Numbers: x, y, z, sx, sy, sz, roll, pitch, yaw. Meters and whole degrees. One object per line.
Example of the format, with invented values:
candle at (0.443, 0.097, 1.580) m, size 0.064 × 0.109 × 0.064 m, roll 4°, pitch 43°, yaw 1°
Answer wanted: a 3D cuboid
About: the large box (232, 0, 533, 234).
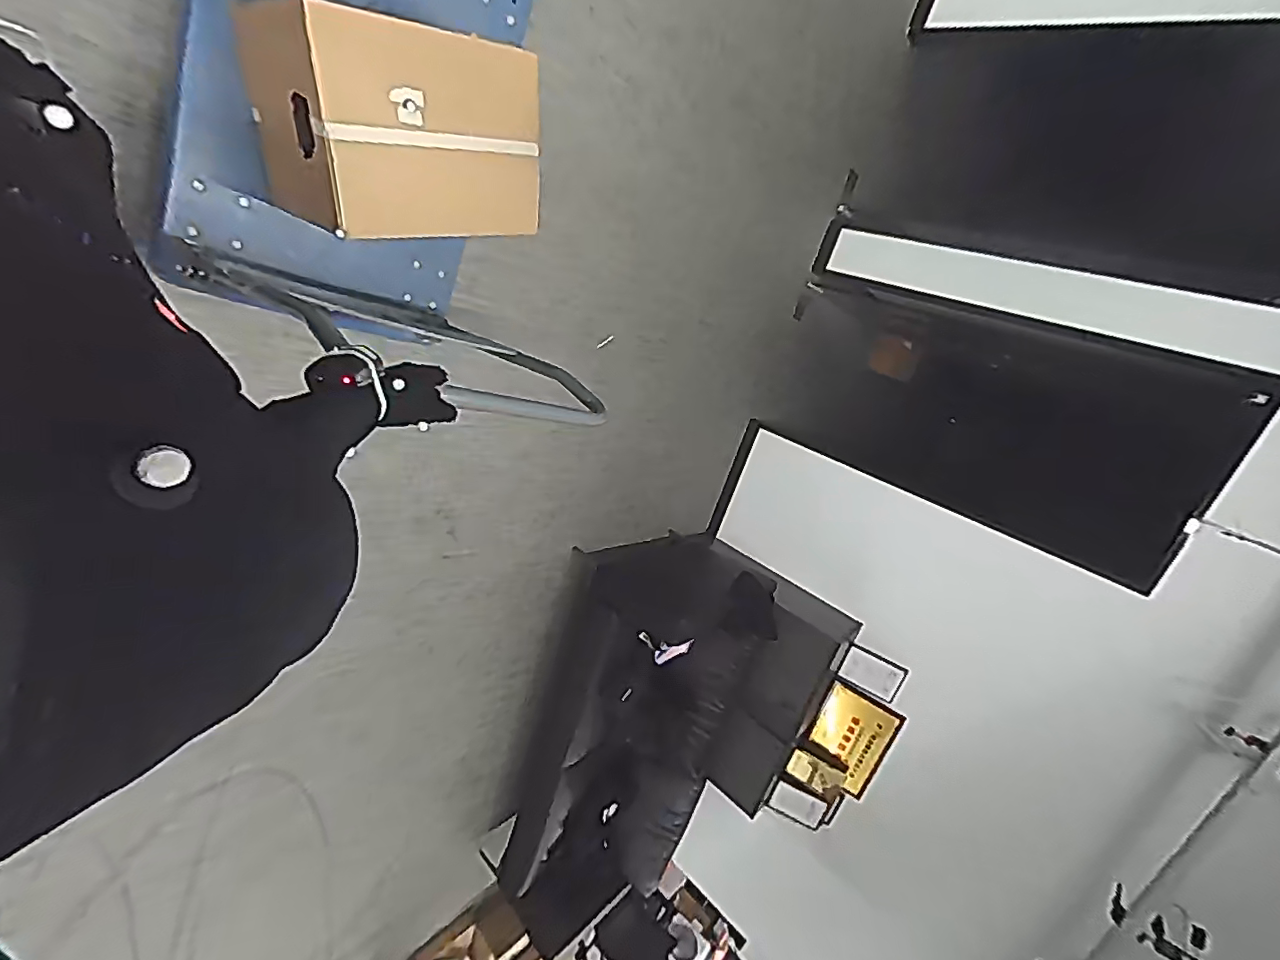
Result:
large box at (-0.457, -0.670, 1.025) m, size 0.408 × 0.320 × 0.320 m, roll -25°, pitch 134°, yaw -40°
